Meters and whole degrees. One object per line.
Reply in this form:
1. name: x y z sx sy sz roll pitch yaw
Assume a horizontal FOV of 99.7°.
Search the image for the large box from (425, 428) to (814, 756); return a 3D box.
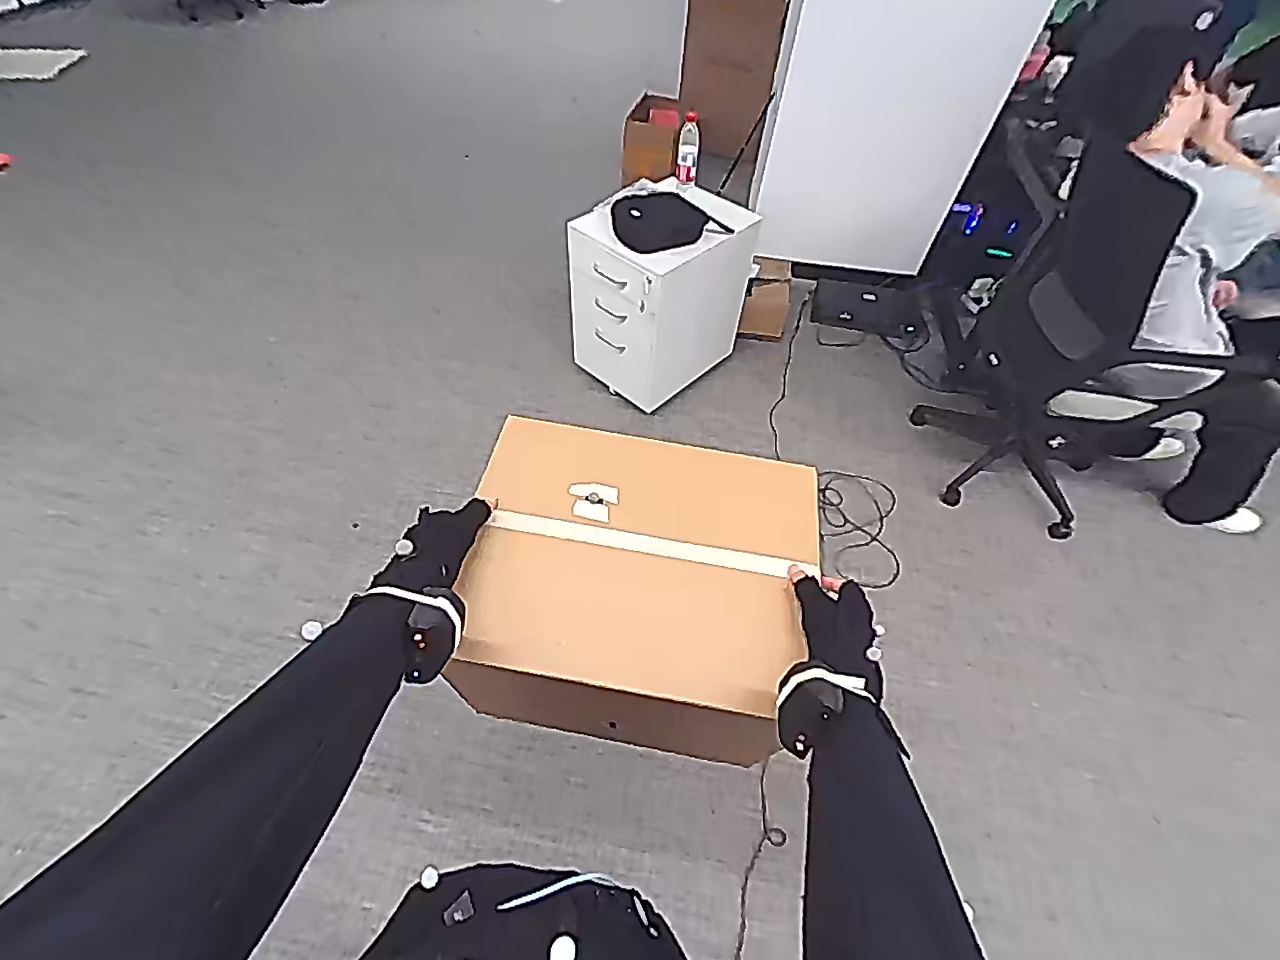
1. large box: -0.008 0.166 0.746 0.408 0.320 0.320 9 55 3
